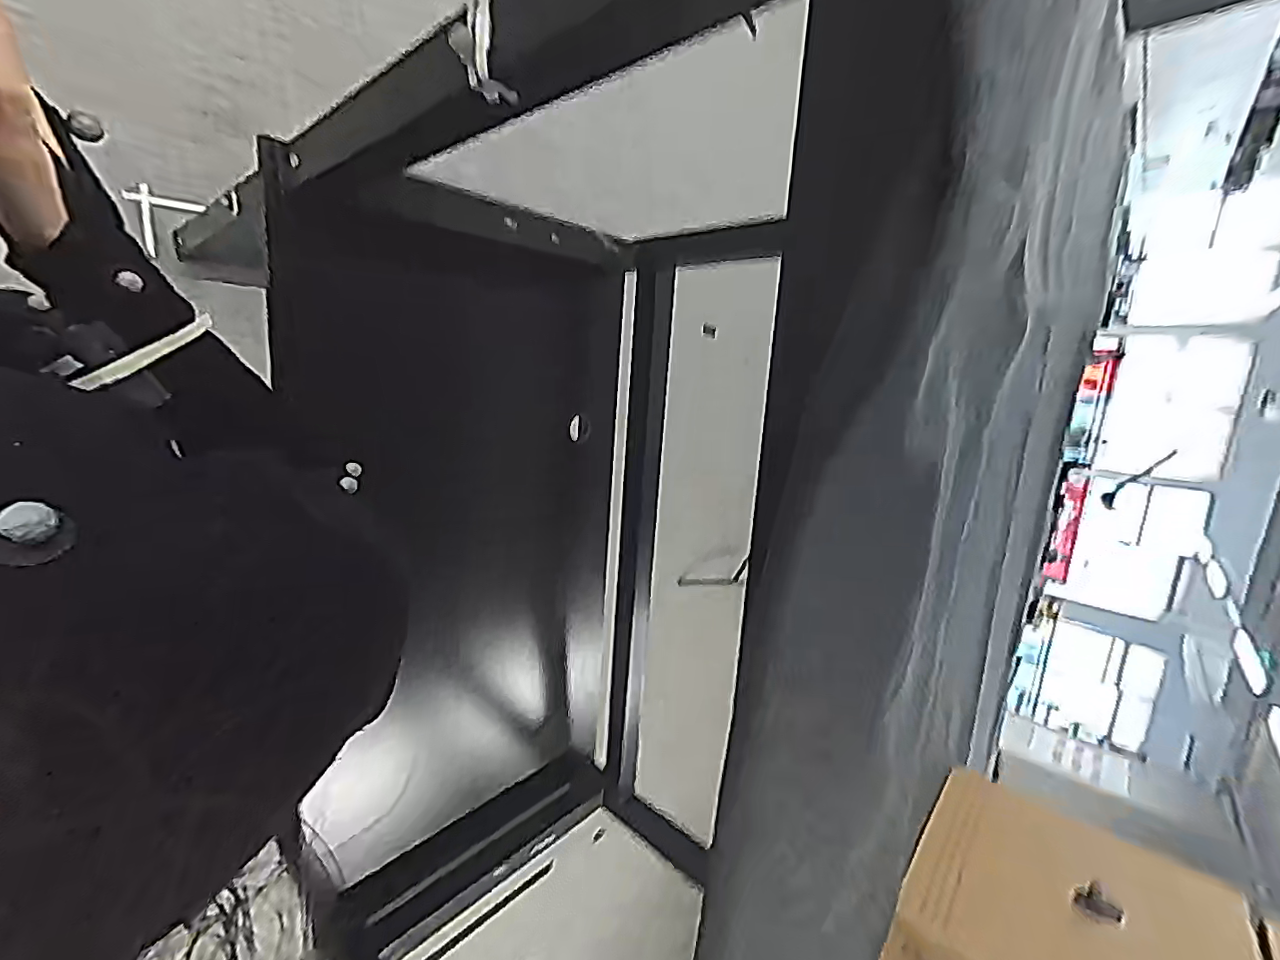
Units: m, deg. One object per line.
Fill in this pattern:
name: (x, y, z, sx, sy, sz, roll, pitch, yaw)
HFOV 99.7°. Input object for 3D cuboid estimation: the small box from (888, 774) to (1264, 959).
small box: (0.256, 0.335, 0.342, 0.179, 0.176, 0.168, -10, 108, -49)
